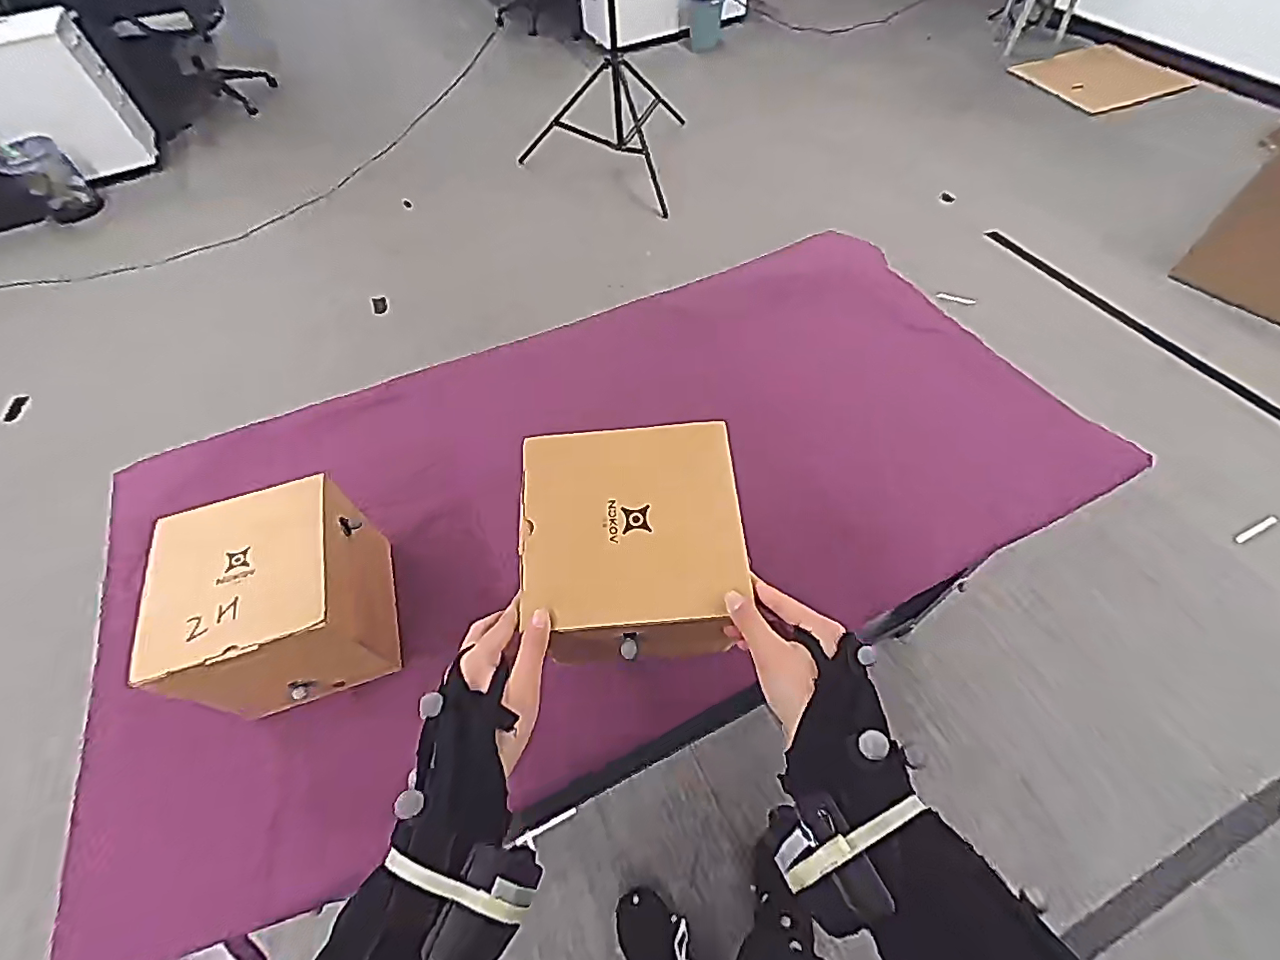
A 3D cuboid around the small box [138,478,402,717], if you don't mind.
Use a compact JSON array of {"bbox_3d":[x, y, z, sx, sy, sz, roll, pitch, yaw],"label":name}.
[{"bbox_3d":[-0.378,0.131,0.588,0.168,0.176,0.179,-18,57,-8],"label":"small box"}]
